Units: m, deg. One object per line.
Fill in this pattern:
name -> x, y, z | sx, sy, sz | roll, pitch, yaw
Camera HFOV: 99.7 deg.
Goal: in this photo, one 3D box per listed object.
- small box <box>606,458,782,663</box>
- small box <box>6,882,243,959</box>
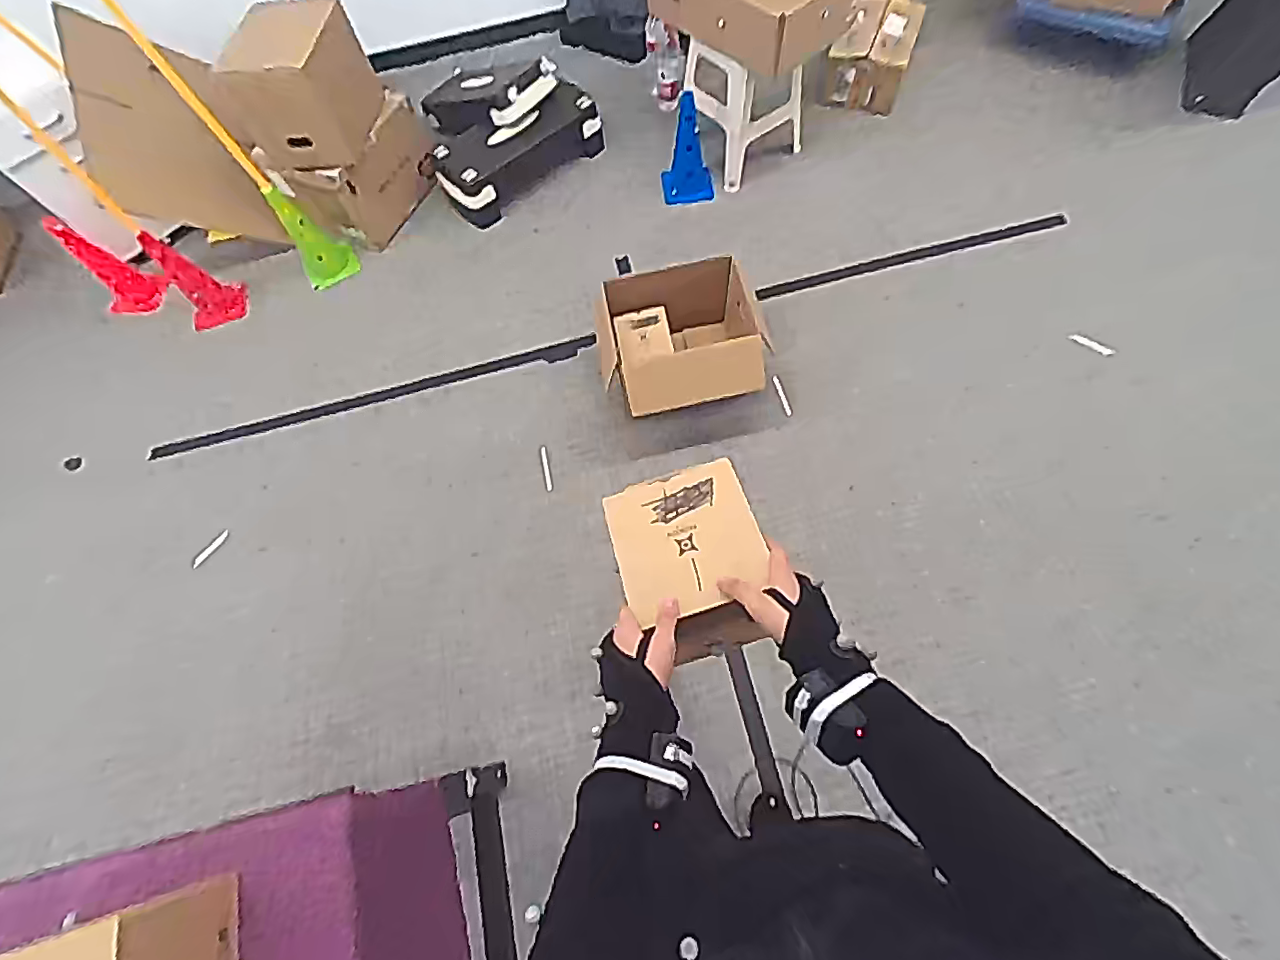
small box -> 0.069, 0.106, 0.683 | 0.168, 0.176, 0.179 | -18, 55, 2
small box -> -0.586, 0.585, 0.595 | 0.179, 0.176, 0.168 | -18, 67, -3
